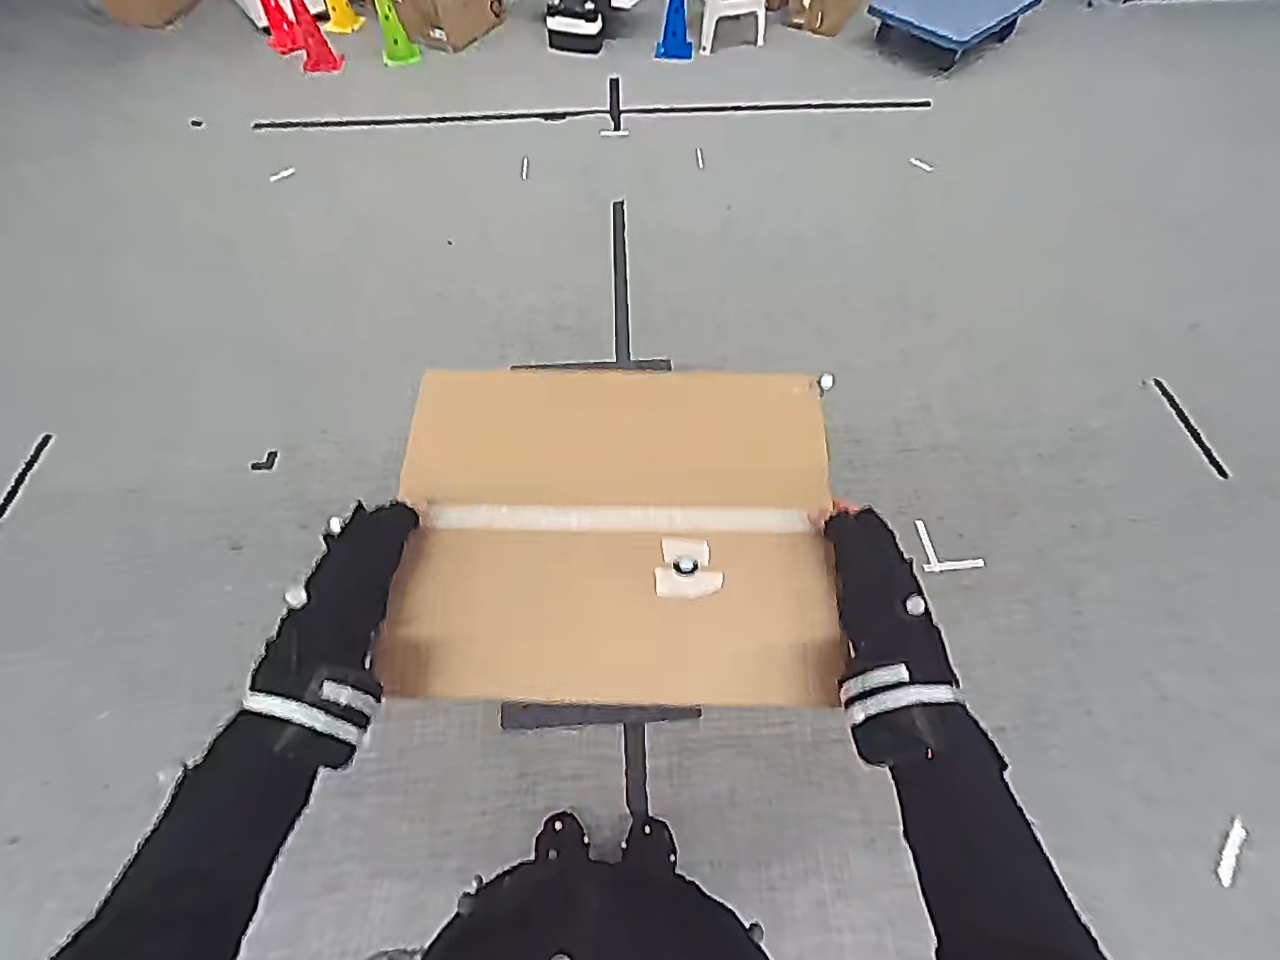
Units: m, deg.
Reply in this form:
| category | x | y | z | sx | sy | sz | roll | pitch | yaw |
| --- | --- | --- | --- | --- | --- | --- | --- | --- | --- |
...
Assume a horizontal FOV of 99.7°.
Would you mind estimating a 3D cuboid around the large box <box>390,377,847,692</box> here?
| category | x | y | z | sx | sy | sz | roll | pitch | yaw |
| --- | --- | --- | --- | --- | --- | --- | --- | --- | --- |
| large box | -0.018 | 0.088 | 0.655 | 0.408 | 0.320 | 0.320 | 1 | 70 | 1 |

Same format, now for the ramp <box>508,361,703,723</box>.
| category | x | y | z | sx | sy | sz | roll | pitch | yaw |
| --- | --- | --- | --- | --- | --- | --- | --- | --- | --- |
| ramp | -0.111 | 0.116 | 1.498 | 0.509 | 0.206 | 0.991 | -4 | 61 | -3 |
